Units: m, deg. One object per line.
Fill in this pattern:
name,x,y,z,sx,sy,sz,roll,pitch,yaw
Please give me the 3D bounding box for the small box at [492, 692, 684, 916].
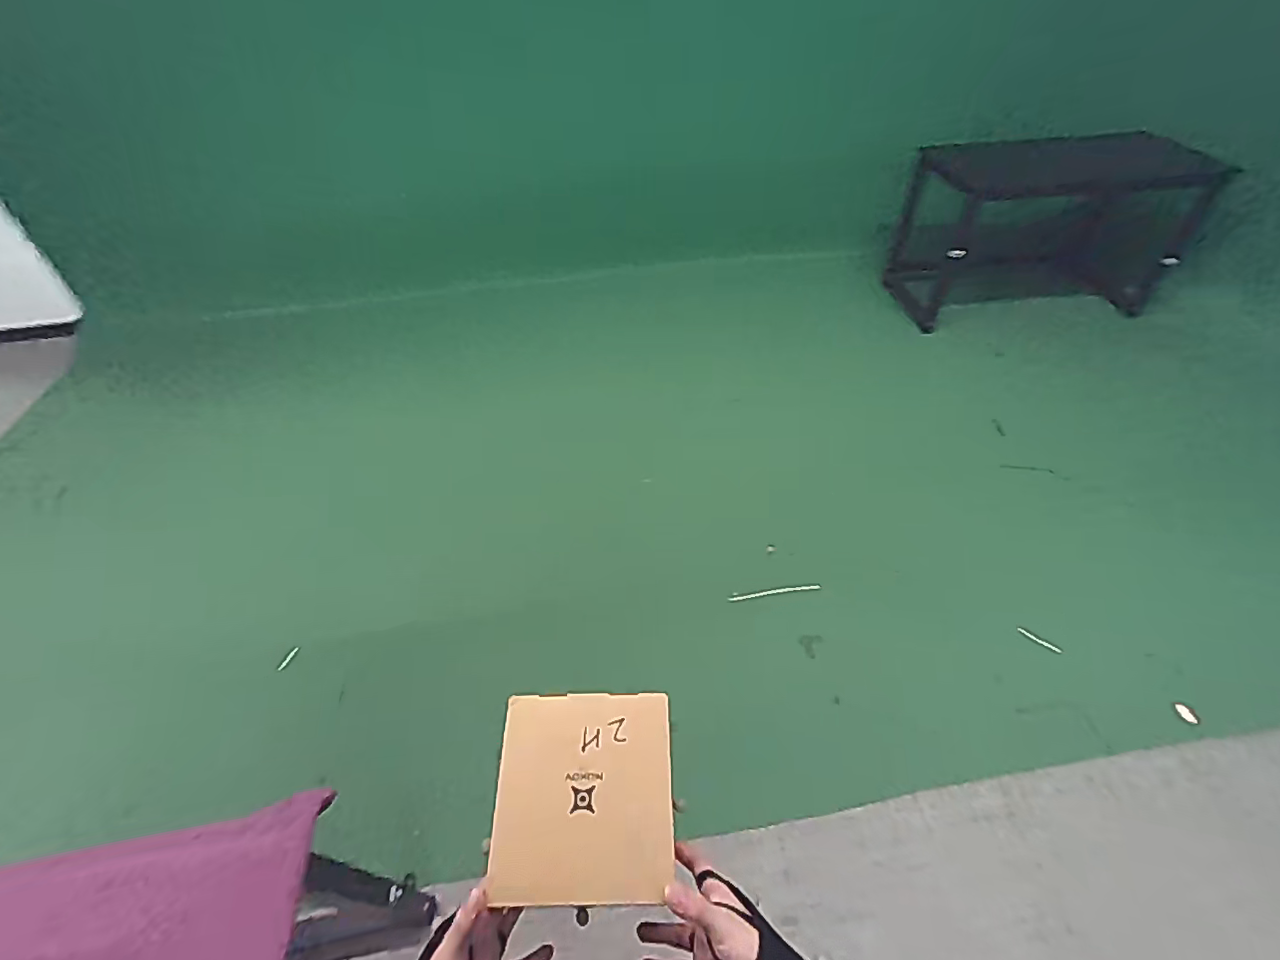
small box,-0.040,0.333,0.560,0.168,0.176,0.179,1,53,0
